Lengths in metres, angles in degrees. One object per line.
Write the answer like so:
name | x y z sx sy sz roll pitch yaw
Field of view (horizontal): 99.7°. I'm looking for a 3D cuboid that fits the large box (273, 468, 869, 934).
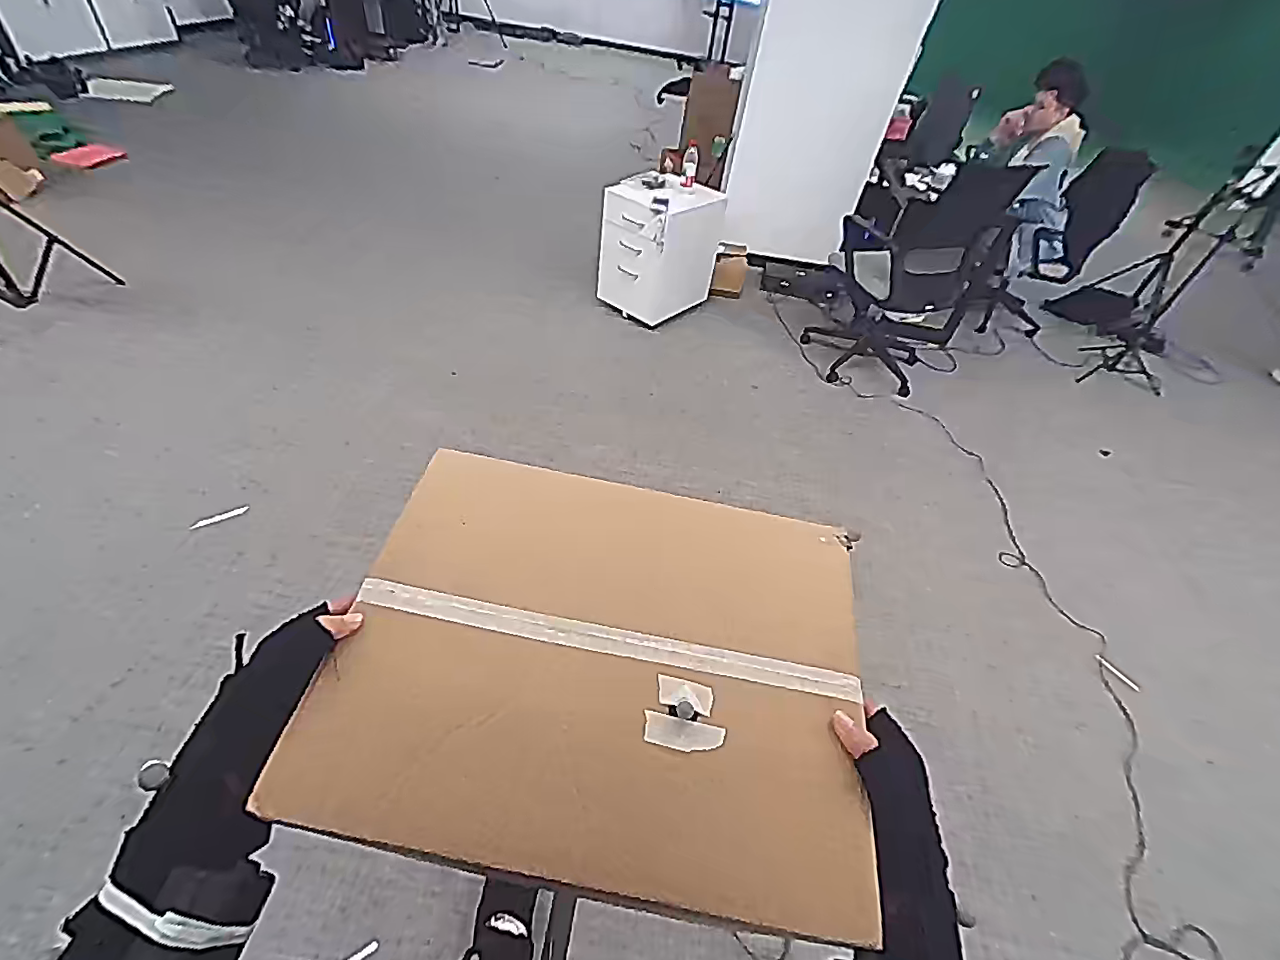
large box | -0.042 0.230 0.557 0.408 0.320 0.320 12 52 1
